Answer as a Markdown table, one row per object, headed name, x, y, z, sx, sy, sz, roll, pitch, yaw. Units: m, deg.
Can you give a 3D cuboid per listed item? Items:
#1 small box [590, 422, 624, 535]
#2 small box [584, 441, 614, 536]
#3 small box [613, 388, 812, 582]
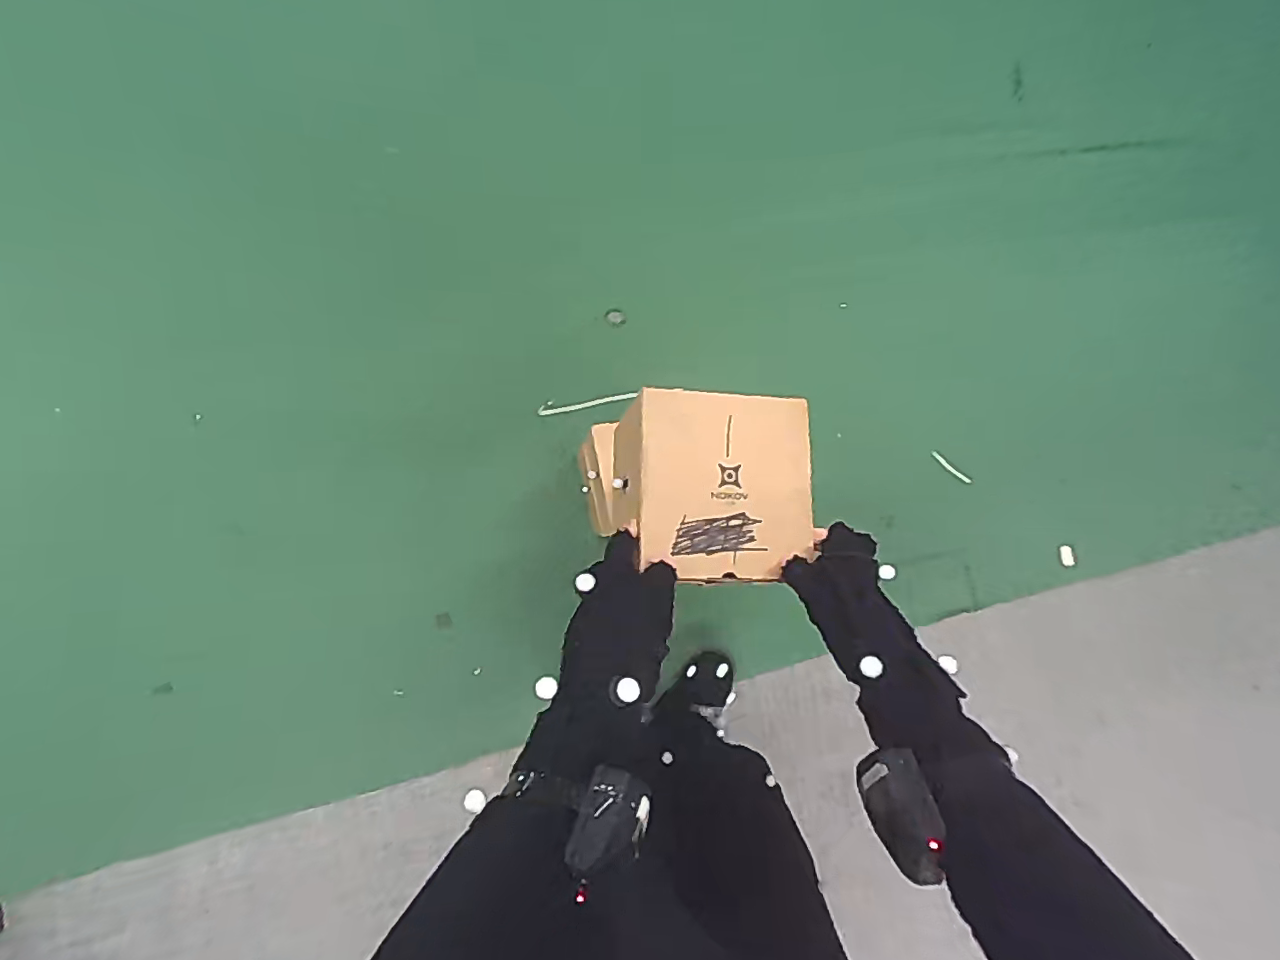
| name | x | y | z | sx | sy | sz | roll | pitch | yaw |
| --- | --- | --- | --- | --- | --- | --- | --- | --- | --- |
| small box | 0.013 | -0.003 | 0.912 | 0.168 | 0.176 | 0.179 | -11 | 86 | -9 |
| small box | -0.014 | 0.011 | 1.055 | 0.168 | 0.176 | 0.179 | -10 | 87 | -8 |
| small box | 0.065 | 0.016 | 0.575 | 0.168 | 0.176 | 0.179 | 2 | 81 | -12 |
